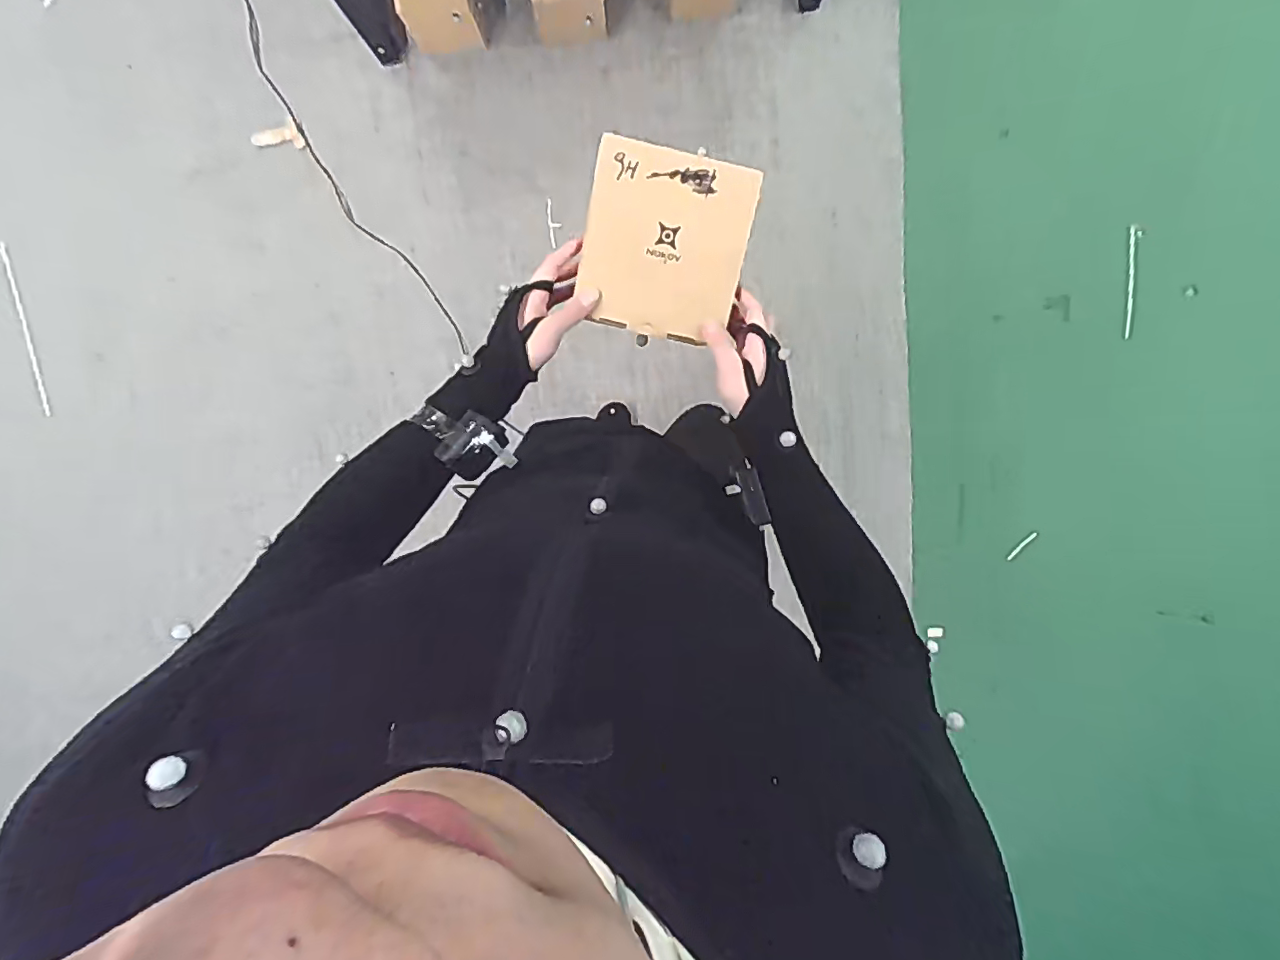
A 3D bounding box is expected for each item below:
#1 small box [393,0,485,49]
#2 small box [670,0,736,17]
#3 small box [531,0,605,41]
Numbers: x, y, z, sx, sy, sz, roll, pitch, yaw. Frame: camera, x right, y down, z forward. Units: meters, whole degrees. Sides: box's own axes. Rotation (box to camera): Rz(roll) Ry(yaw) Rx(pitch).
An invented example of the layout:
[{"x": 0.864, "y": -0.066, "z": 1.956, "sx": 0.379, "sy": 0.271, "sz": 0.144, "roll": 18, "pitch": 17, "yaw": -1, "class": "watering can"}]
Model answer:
[{"x": -0.506, "y": -1.220, "z": 1.350, "sx": 0.179, "sy": 0.176, "sz": 0.168, "roll": -7, "pitch": 98, "yaw": 0, "class": "small box"}, {"x": 0.156, "y": -1.299, "z": 1.340, "sx": 0.179, "sy": 0.176, "sz": 0.168, "roll": -9, "pitch": 99, "yaw": 1, "class": "small box"}, {"x": -0.182, "y": -1.242, "z": 1.348, "sx": 0.179, "sy": 0.176, "sz": 0.168, "roll": -5, "pitch": 98, "yaw": 1, "class": "small box"}]
